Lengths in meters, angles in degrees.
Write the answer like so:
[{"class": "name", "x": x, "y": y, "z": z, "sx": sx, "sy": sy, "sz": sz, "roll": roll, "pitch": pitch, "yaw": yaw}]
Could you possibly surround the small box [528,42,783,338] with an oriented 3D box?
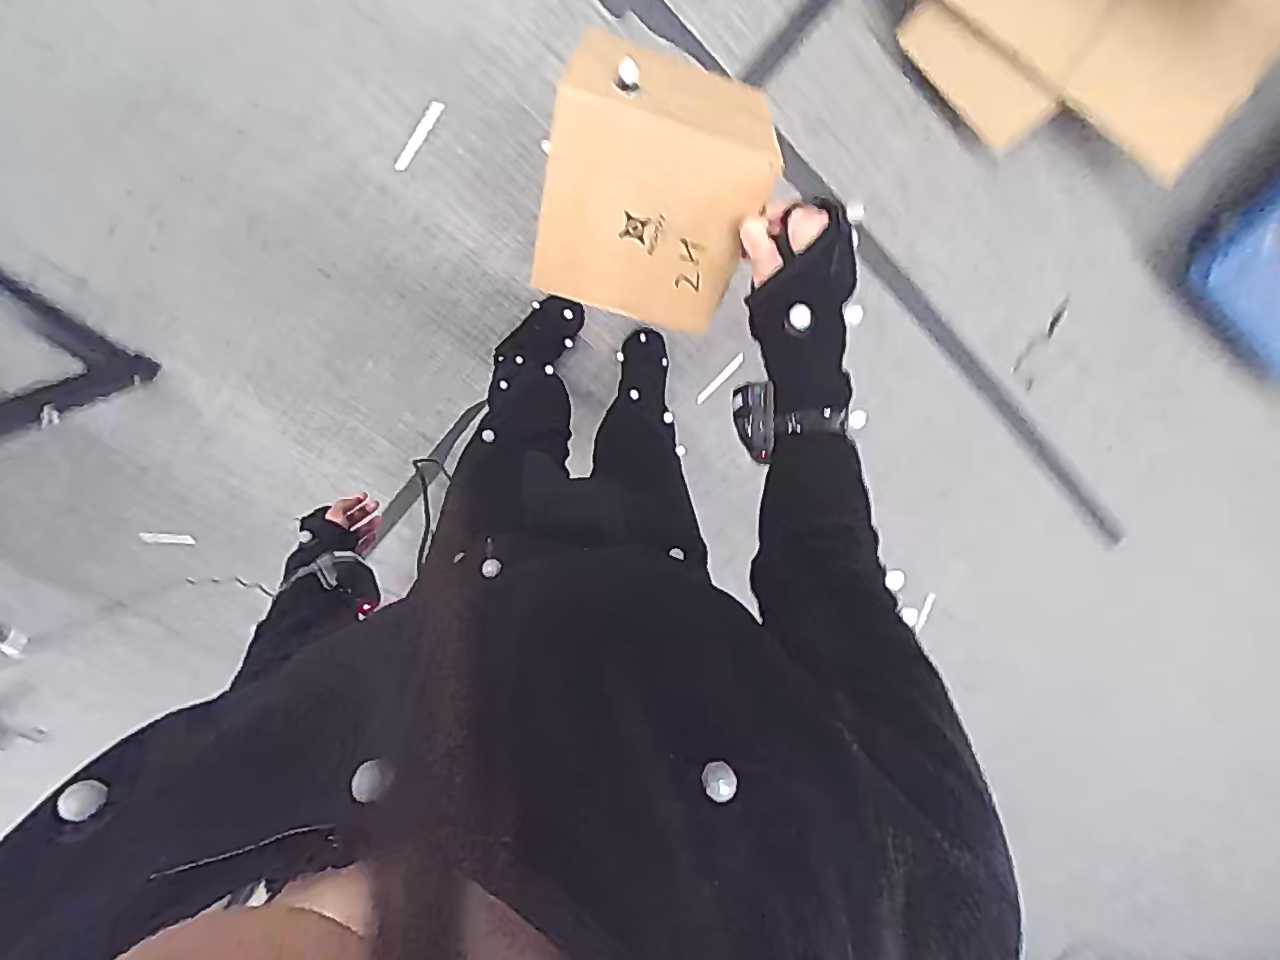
[{"class": "small box", "x": 0.007, "y": -0.266, "z": 0.499, "sx": 0.179, "sy": 0.176, "sz": 0.168, "roll": 12, "pitch": 141, "yaw": -11}]
